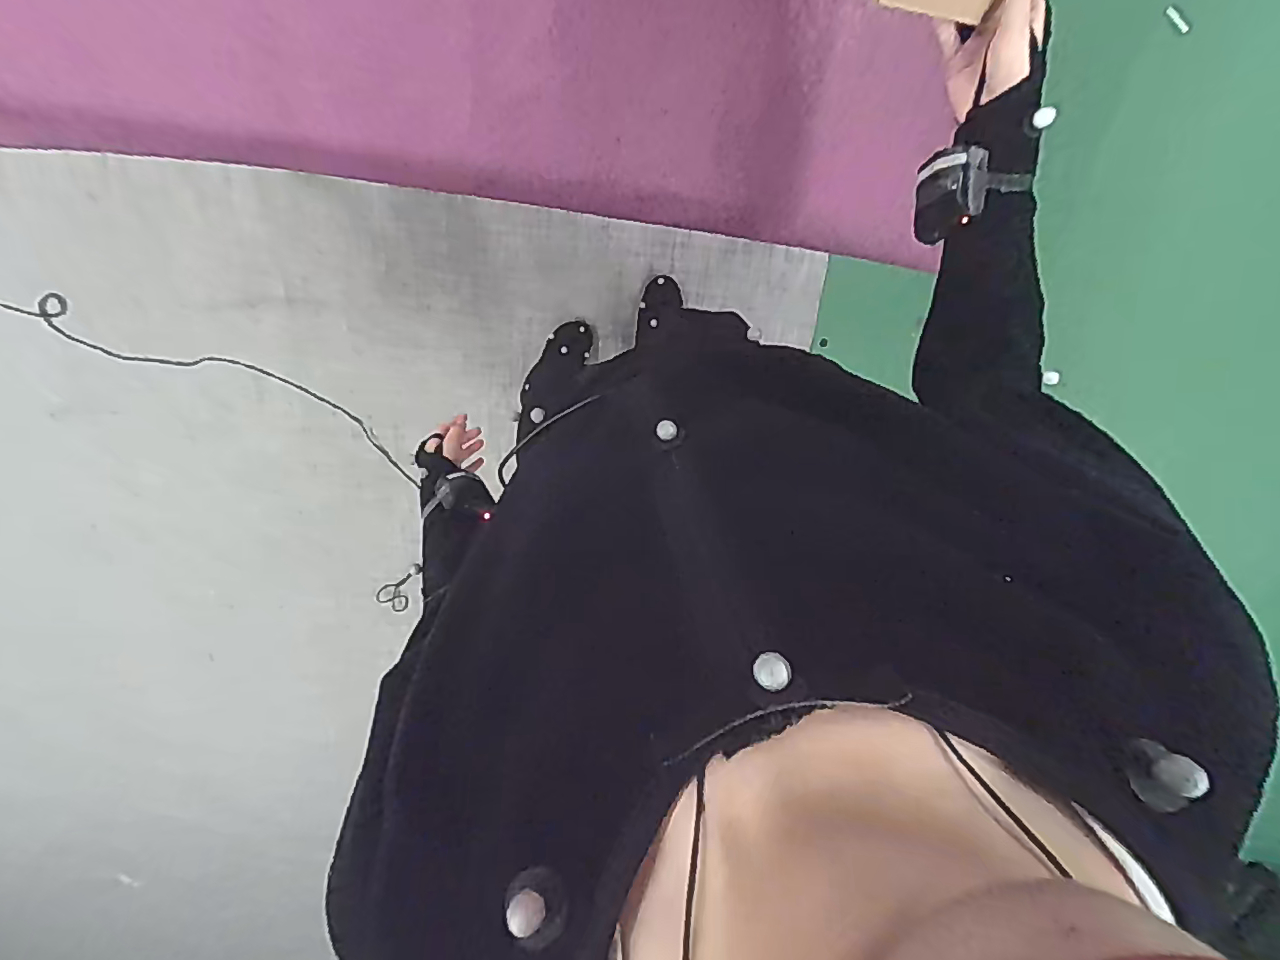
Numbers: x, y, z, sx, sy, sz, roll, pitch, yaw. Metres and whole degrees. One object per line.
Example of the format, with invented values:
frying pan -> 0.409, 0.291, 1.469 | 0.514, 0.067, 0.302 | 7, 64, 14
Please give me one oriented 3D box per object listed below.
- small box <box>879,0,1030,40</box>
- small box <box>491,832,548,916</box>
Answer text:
small box -> 0.218, -0.444, 0.354 | 0.168, 0.179, 0.176 | -19, 72, -30
small box -> -0.397, 1.302, 1.796 | 0.168, 0.176, 0.179 | 2, 113, -4
